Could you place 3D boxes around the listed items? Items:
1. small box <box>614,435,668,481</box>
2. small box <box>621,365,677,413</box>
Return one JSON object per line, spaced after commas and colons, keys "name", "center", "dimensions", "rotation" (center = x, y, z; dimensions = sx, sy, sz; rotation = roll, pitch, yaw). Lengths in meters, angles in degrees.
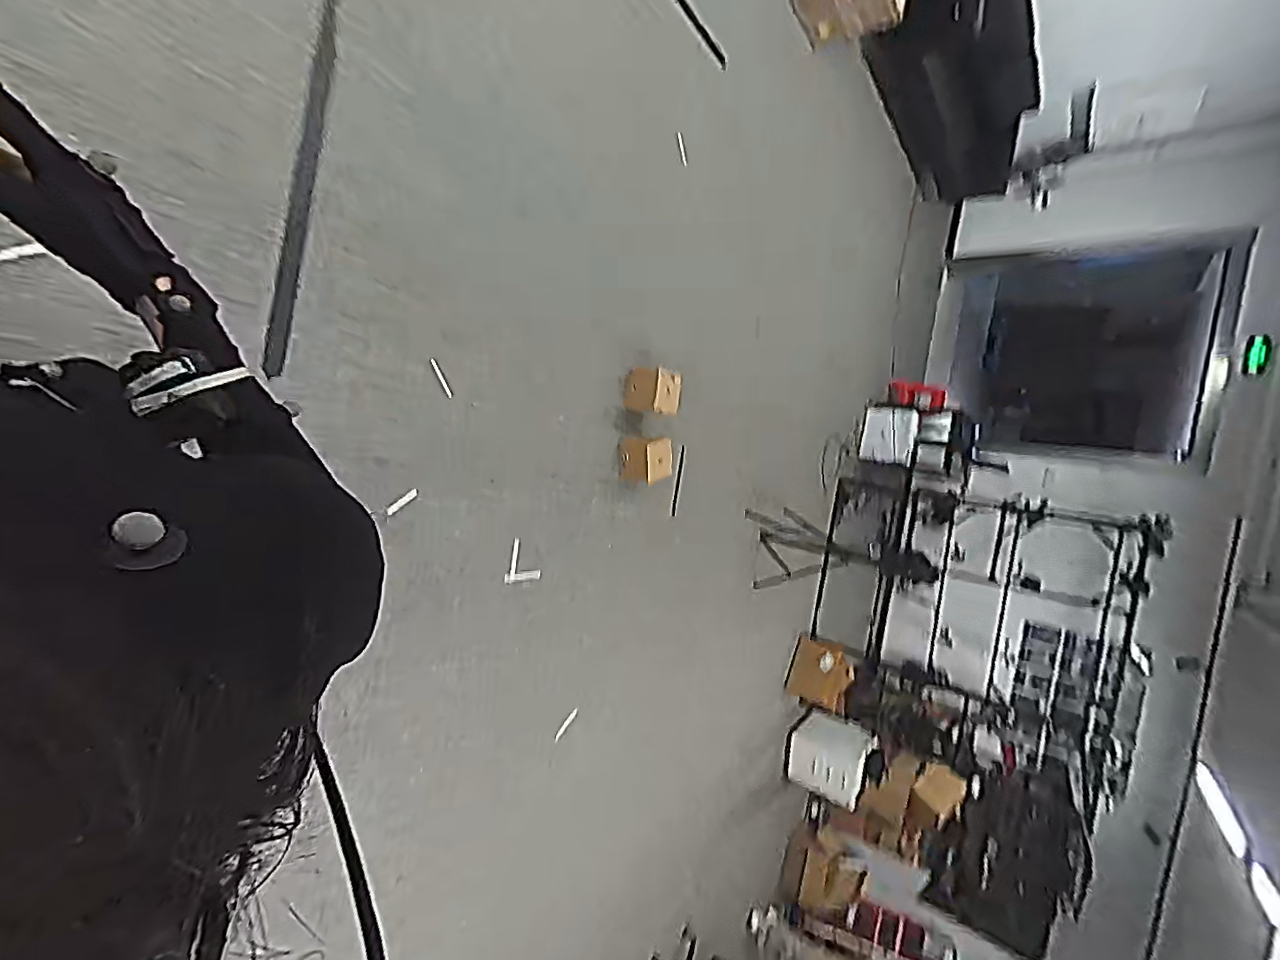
{"name": "small box", "center": [0.005, -0.102, 2.388], "dimensions": [0.179, 0.176, 0.168], "rotation": [-20, 113, -47]}
{"name": "small box", "center": [0.036, -0.396, 2.356], "dimensions": [0.168, 0.176, 0.179], "rotation": [6, 93, -52]}
